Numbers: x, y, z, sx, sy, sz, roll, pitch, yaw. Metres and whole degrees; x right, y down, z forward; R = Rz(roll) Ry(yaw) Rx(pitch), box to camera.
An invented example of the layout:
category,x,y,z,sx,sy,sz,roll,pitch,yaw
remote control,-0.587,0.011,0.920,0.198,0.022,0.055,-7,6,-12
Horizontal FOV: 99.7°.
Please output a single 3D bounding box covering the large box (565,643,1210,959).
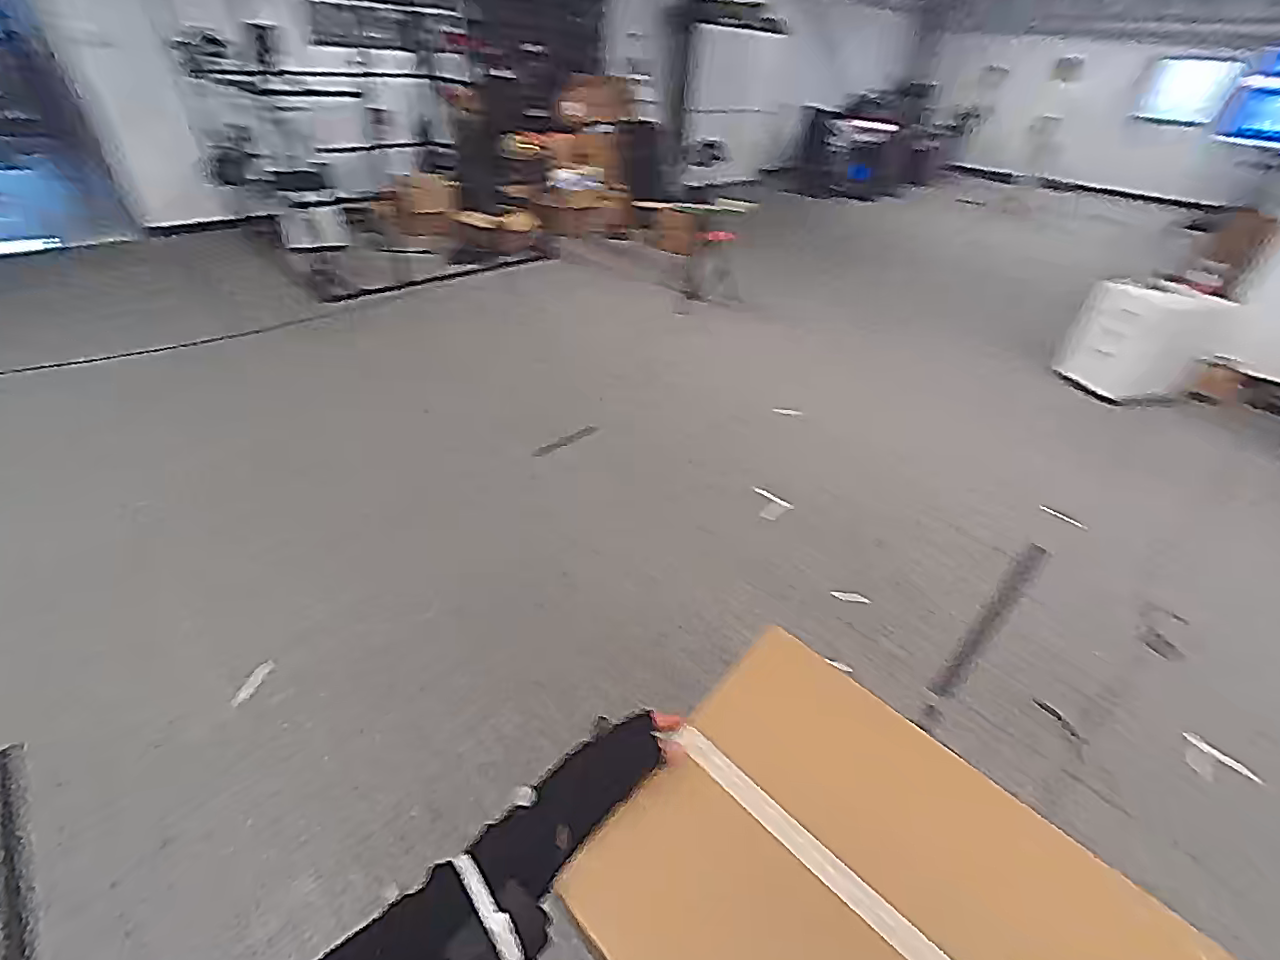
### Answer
category,x,y,z,sx,sy,sz,roll,pitch,yaw
large box,0.178,0.449,0.517,0.408,0.320,0.320,34,53,28
